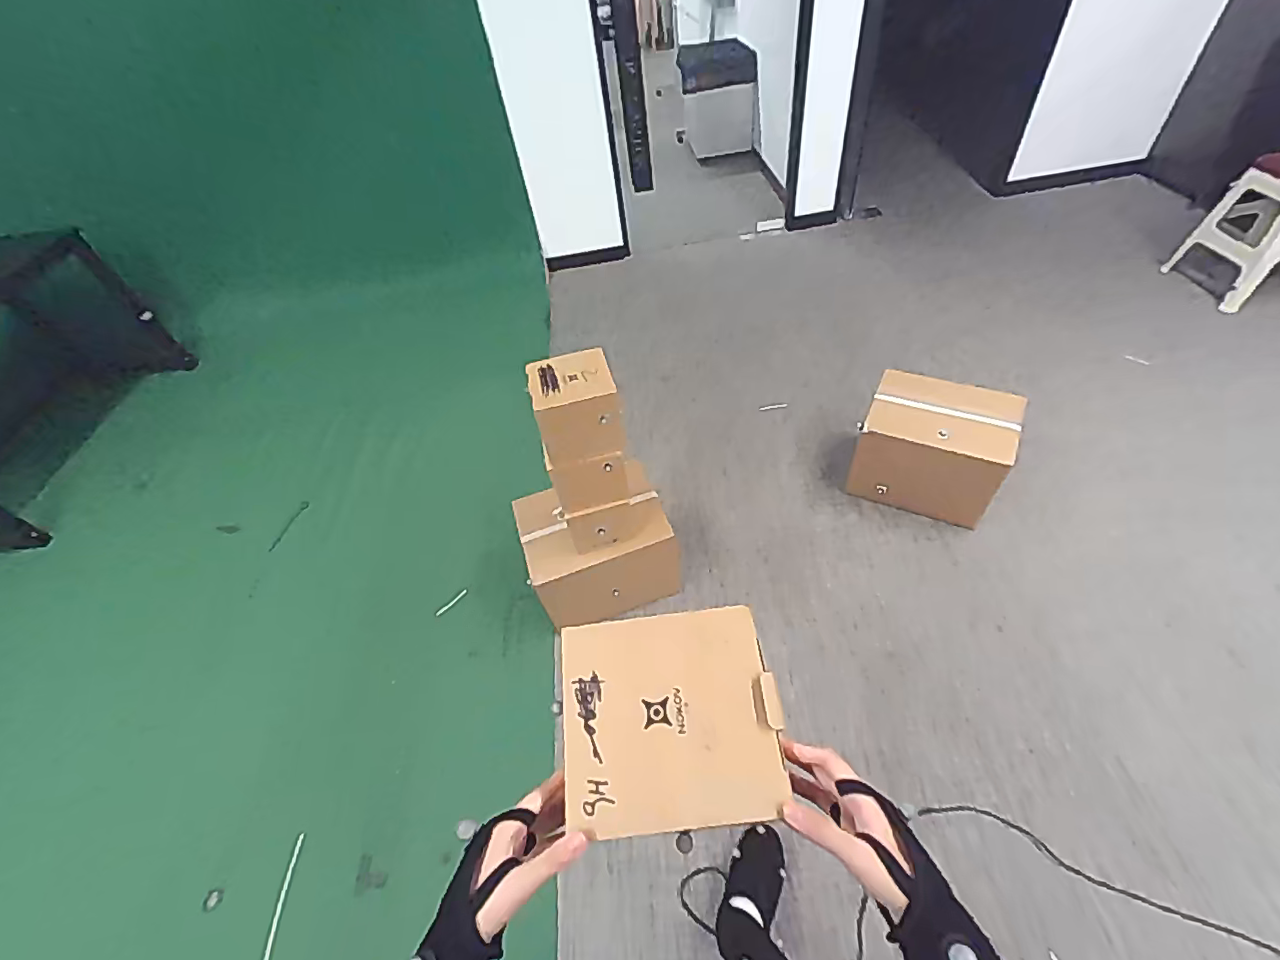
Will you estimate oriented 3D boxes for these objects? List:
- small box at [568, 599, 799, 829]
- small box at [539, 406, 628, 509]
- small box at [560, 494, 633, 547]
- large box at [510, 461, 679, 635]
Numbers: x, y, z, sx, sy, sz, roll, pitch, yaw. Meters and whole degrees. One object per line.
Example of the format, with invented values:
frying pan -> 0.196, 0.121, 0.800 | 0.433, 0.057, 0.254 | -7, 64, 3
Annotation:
small box -> 0.030, 0.225, 0.510 | 0.179, 0.176, 0.168 | -5, 56, 0
small box -> -0.136, -0.051, 1.314 | 0.179, 0.176, 0.168 | -13, 49, -4
small box -> -0.121, 0.060, 1.431 | 0.168, 0.176, 0.179 | -14, 49, -5
large box -> -0.130, 0.207, 1.632 | 0.408, 0.320, 0.320 | -20, 48, -7
